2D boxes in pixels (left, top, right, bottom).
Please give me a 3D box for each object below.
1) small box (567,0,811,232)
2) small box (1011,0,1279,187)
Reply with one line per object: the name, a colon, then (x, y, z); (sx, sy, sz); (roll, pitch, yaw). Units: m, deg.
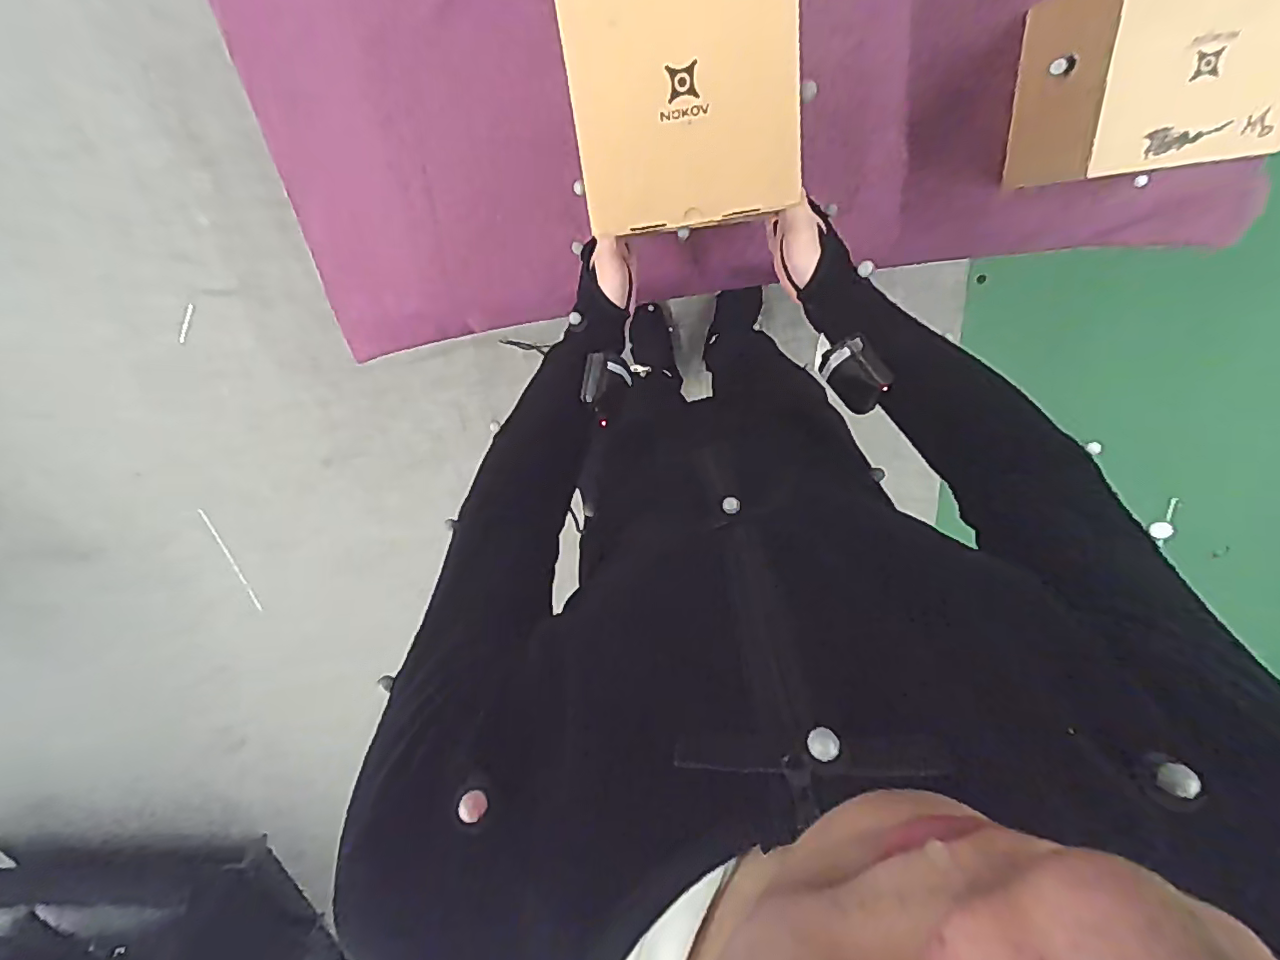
small box: (0.045, -0.316, 0.456); (0.168, 0.176, 0.179); (-5, 116, 9)
small box: (0.508, -0.408, 0.541); (0.168, 0.176, 0.179); (-3, 114, 9)
